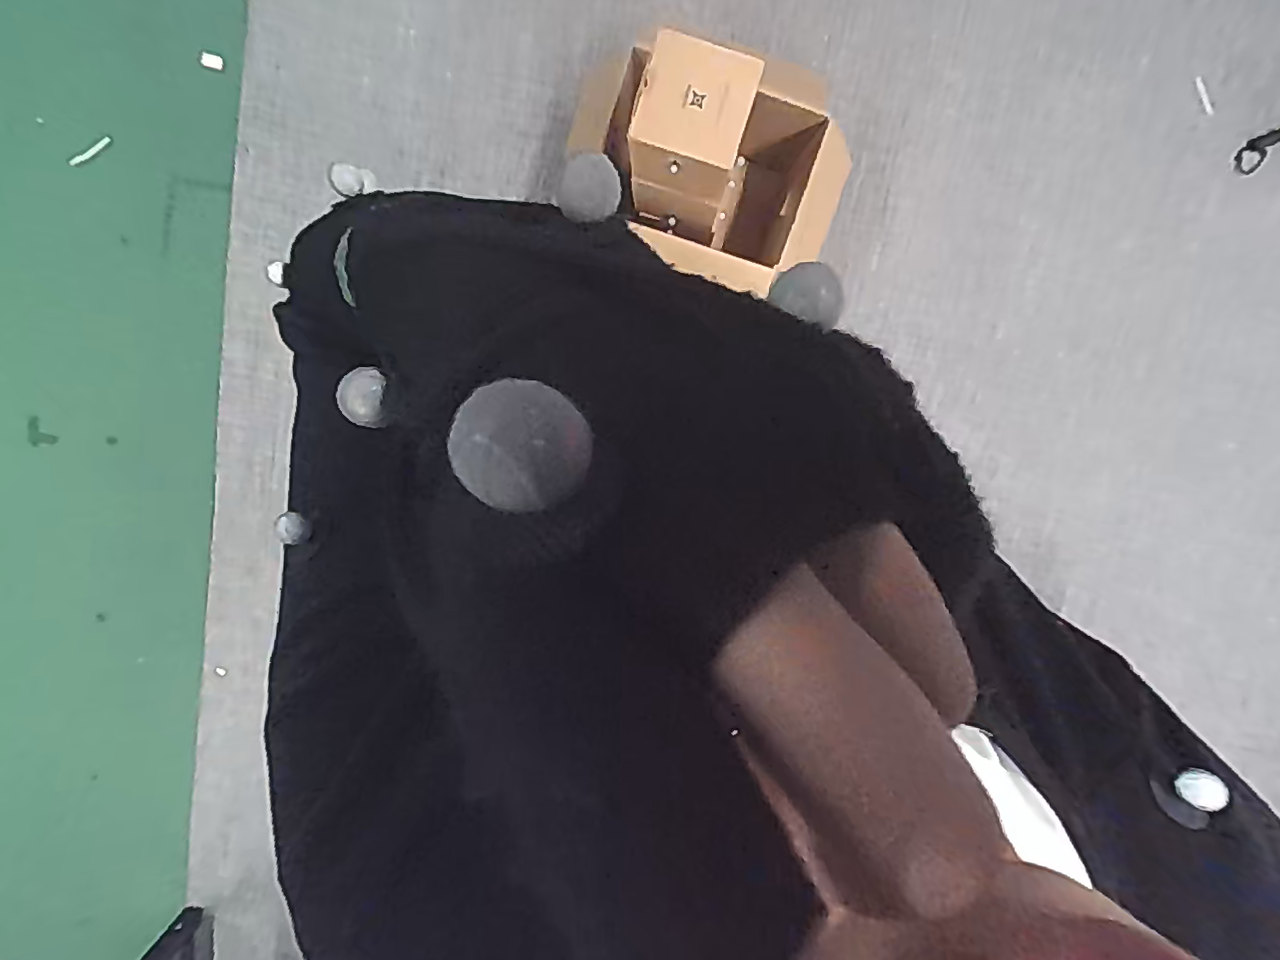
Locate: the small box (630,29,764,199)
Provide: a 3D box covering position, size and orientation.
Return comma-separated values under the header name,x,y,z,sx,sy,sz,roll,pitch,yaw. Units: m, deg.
name,x,y,z,sx,sy,sz,roll,pitch,yaw
small box,0.091,-0.612,0.930,0.179,0.176,0.168,16,100,-1
